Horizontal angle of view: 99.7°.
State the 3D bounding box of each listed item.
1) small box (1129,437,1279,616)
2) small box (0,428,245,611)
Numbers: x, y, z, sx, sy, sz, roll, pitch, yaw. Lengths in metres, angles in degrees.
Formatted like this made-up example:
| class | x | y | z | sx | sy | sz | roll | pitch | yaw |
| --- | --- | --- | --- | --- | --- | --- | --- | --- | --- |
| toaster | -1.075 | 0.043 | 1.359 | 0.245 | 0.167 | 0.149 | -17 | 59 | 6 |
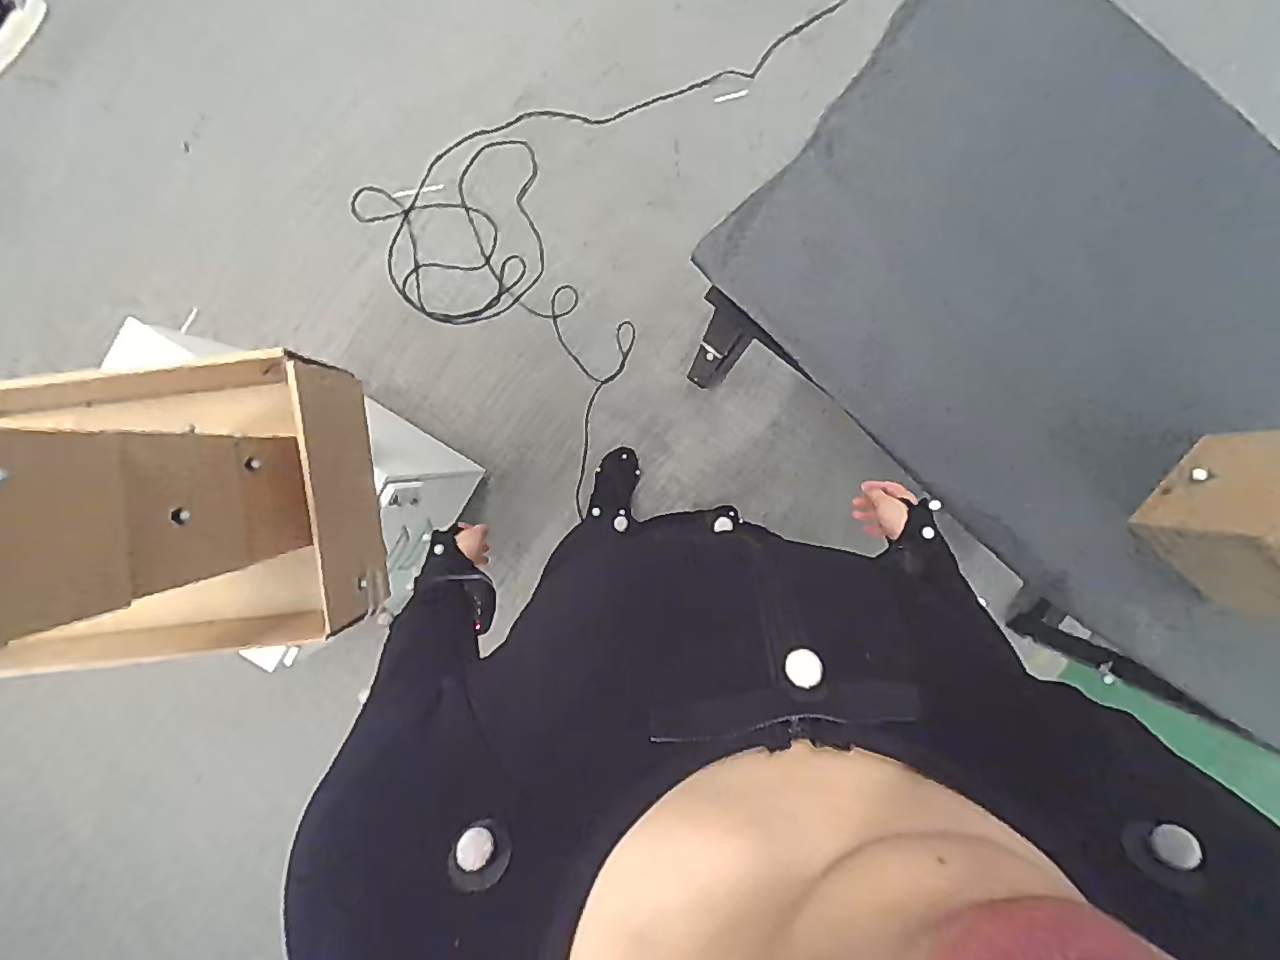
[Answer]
| class | x | y | z | sx | sy | sz | roll | pitch | yaw |
| --- | --- | --- | --- | --- | --- | --- | --- | --- | --- |
| small box | 0.785 | 0.055 | 0.665 | 0.179 | 0.176 | 0.168 | 42 | 90 | 0 |
| small box | -0.597 | 0.037 | 0.617 | 0.168 | 0.176 | 0.179 | -5 | 93 | 3 |
